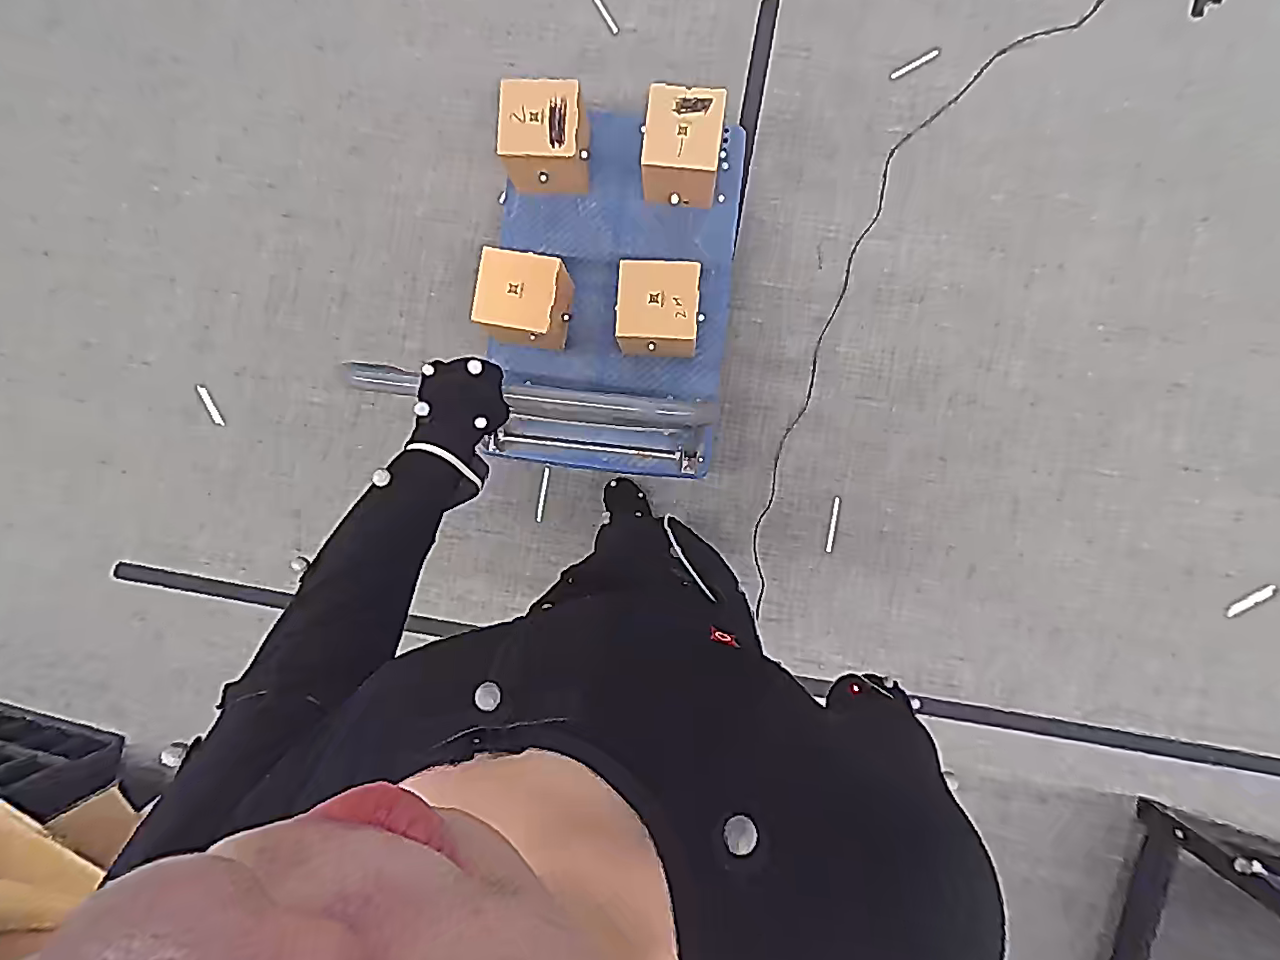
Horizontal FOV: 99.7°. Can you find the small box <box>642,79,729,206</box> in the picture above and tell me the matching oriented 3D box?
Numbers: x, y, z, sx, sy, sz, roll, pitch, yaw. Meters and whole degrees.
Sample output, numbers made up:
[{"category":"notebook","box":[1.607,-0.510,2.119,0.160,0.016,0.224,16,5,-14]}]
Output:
[{"category":"small box","box":[0.100,-0.756,1.225,0.168,0.176,0.179,8,92,3]}]

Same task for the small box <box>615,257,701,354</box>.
[{"category":"small box","box":[0.044,-0.390,1.228,0.179,0.176,0.168,4,90,4]}]

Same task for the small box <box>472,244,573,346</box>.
[{"category":"small box","box":[-0.264,-0.419,1.248,0.179,0.176,0.168,10,90,2]}]
